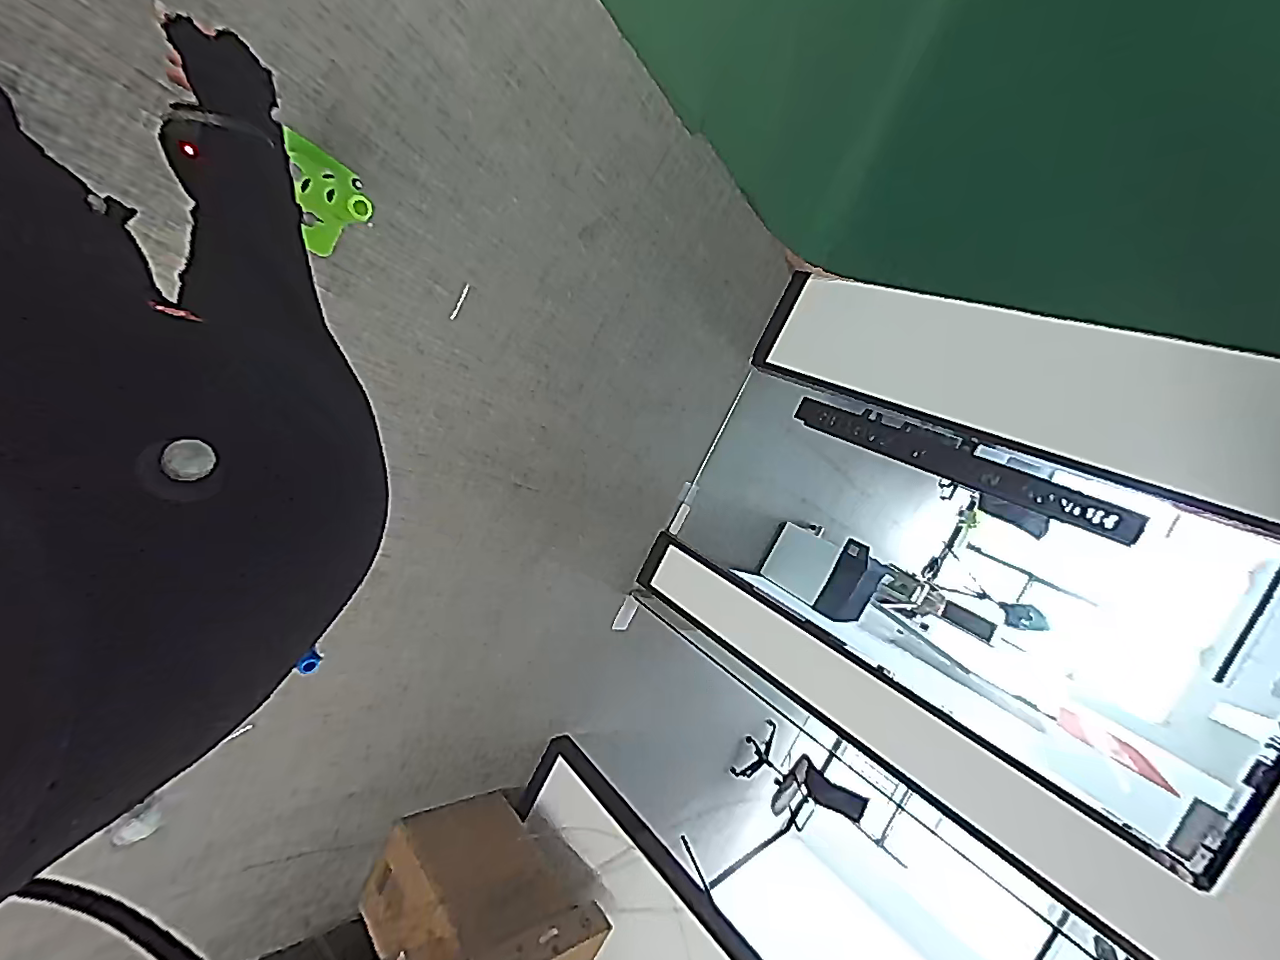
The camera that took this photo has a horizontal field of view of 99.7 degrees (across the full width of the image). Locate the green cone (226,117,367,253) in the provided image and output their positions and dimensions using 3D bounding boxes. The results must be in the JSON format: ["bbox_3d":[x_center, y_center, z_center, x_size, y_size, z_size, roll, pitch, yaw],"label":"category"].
[{"bbox_3d":[-0.619,-0.548,1.046,0.200,0.368,0.202,21,98,-52],"label":"green cone"}]
